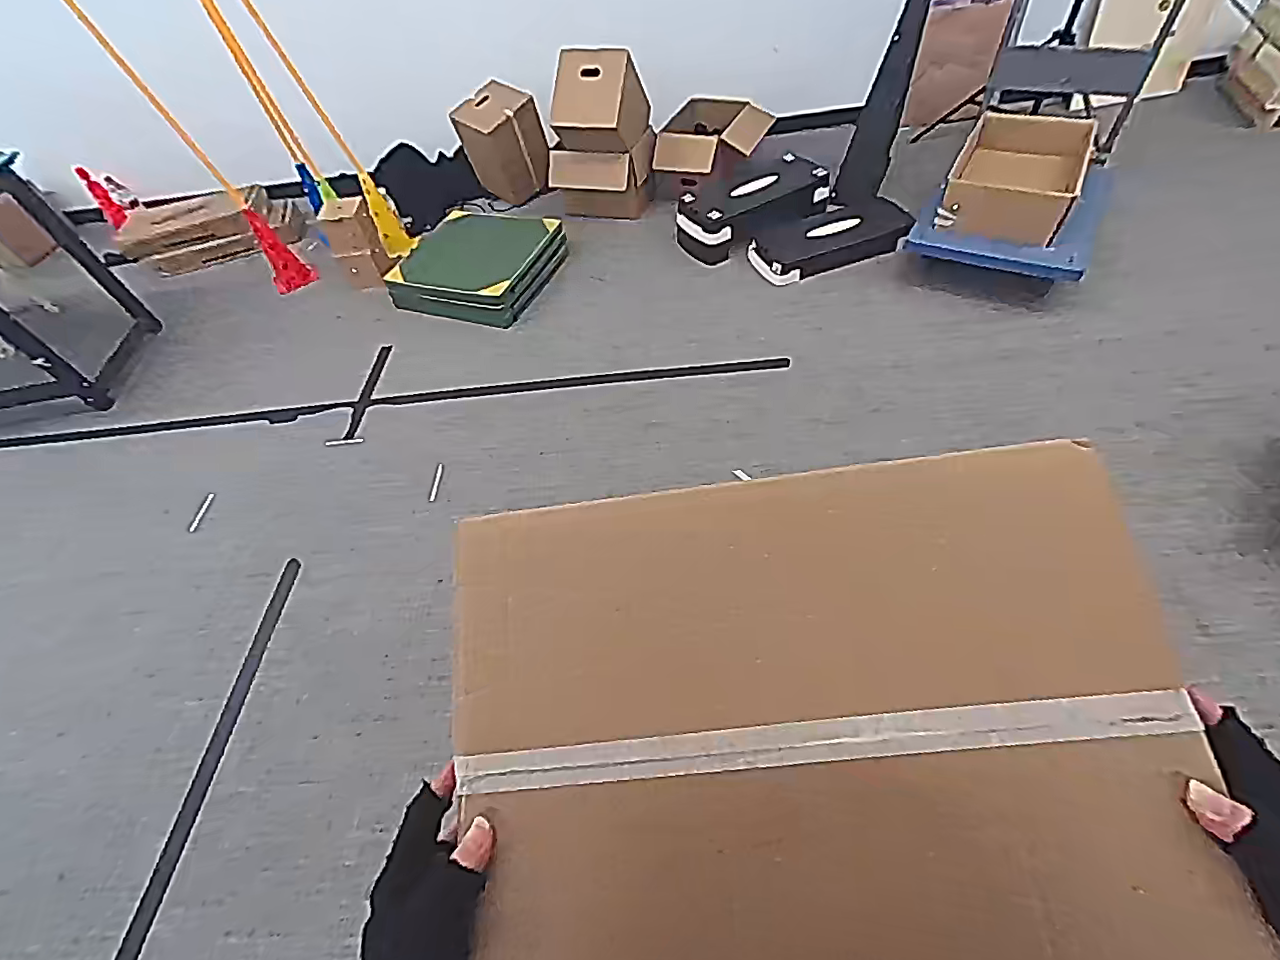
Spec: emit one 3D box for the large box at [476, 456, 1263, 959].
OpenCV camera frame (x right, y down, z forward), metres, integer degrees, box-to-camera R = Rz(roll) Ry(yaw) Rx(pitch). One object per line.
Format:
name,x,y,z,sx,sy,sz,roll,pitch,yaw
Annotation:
large box,0.115,0.200,0.456,0.408,0.320,0.320,-8,73,6
